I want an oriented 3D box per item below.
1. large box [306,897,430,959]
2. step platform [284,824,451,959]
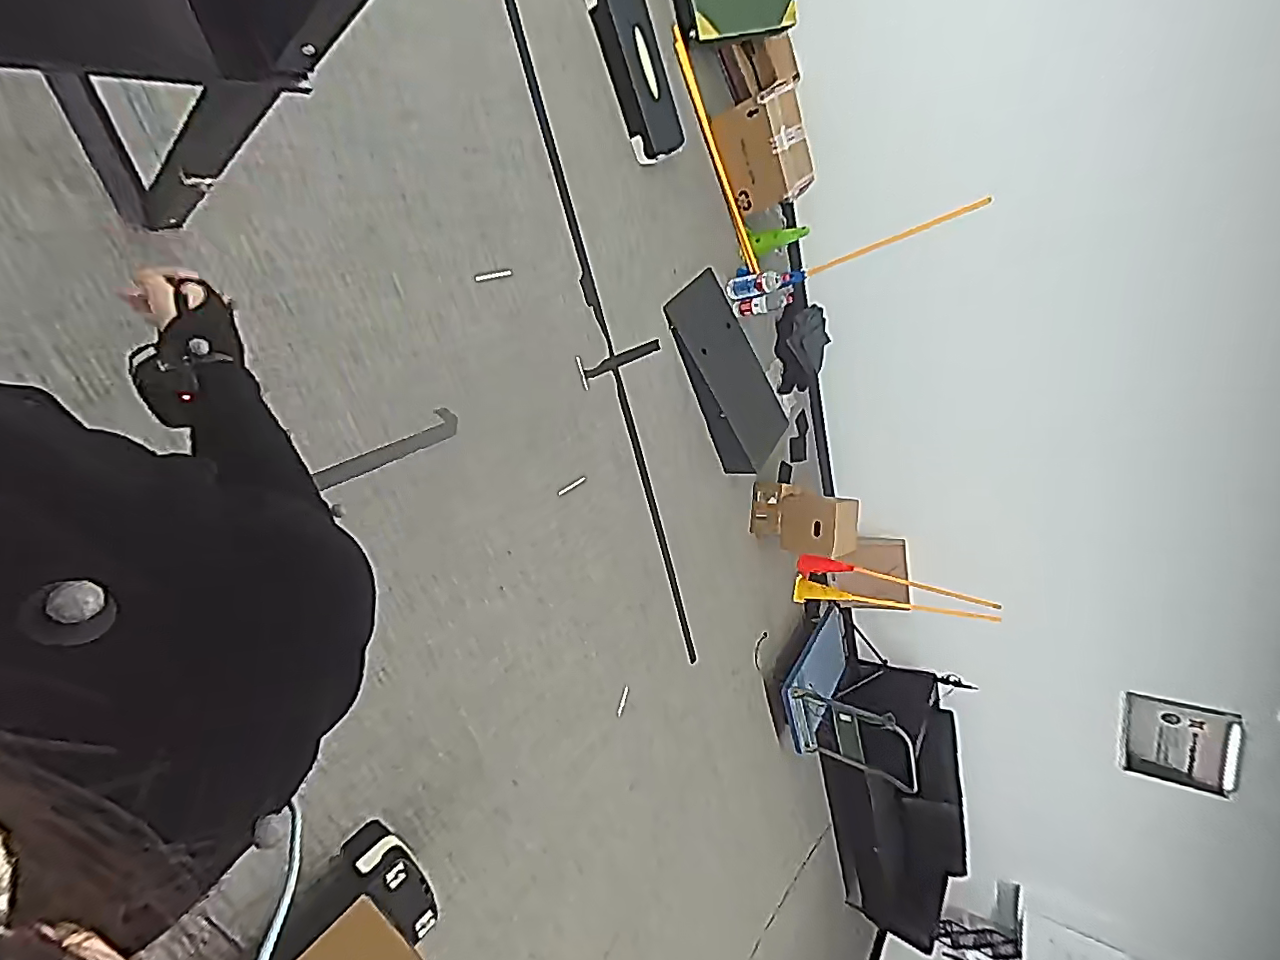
[{"bbox_3d":[-0.636,1.251,1.160,0.408,0.320,0.320,-35,118,-45],"label":"large box"},{"bbox_3d":[-0.813,1.224,1.320,0.684,0.204,0.286,-28,112,-47],"label":"step platform"}]
